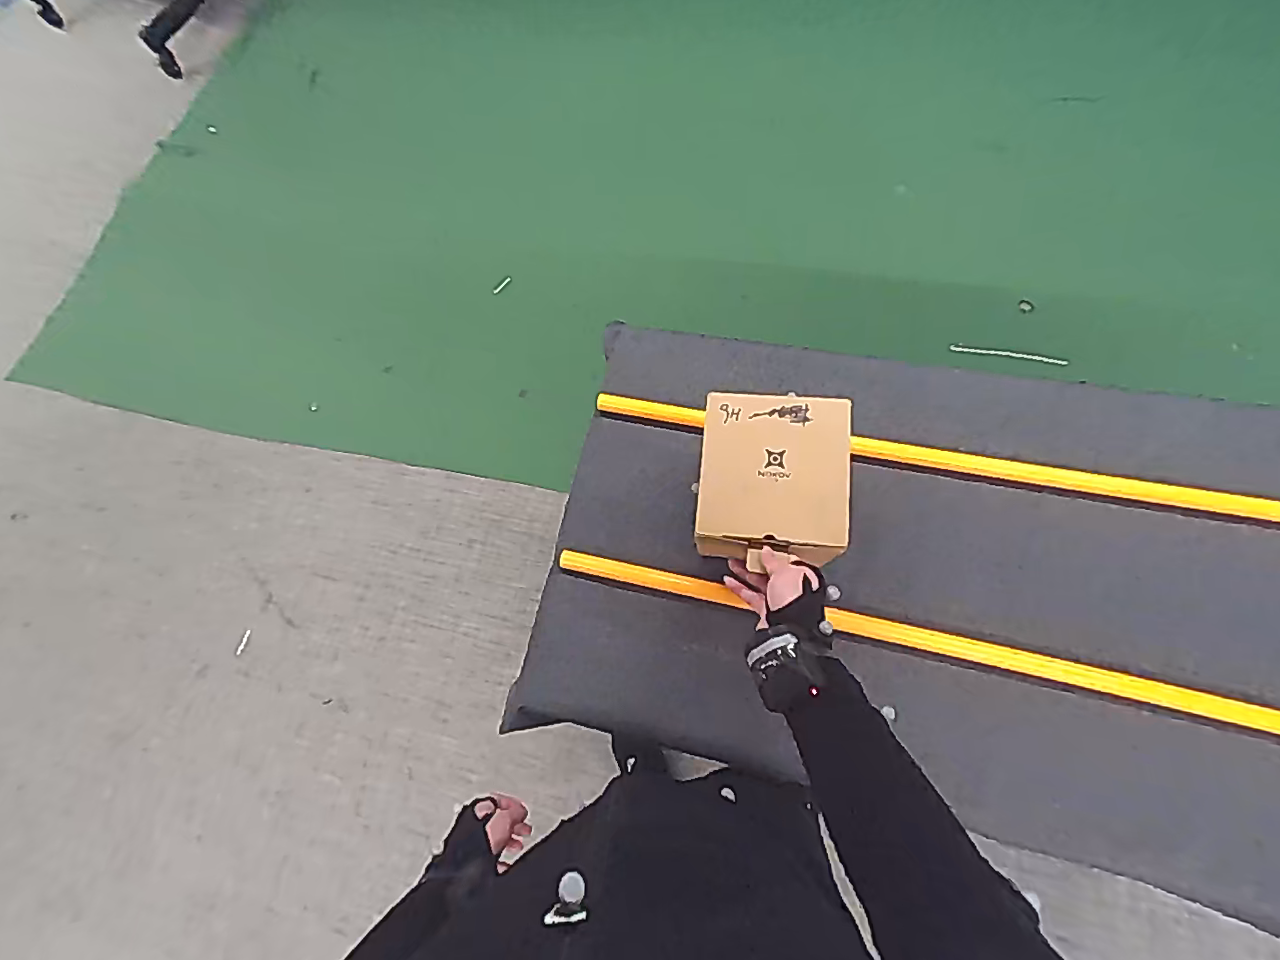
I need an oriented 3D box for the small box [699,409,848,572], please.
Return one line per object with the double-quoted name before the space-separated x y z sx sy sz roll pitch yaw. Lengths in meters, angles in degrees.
"small box" 0.169 0.021 0.698 0.168 0.176 0.179 1 73 11
